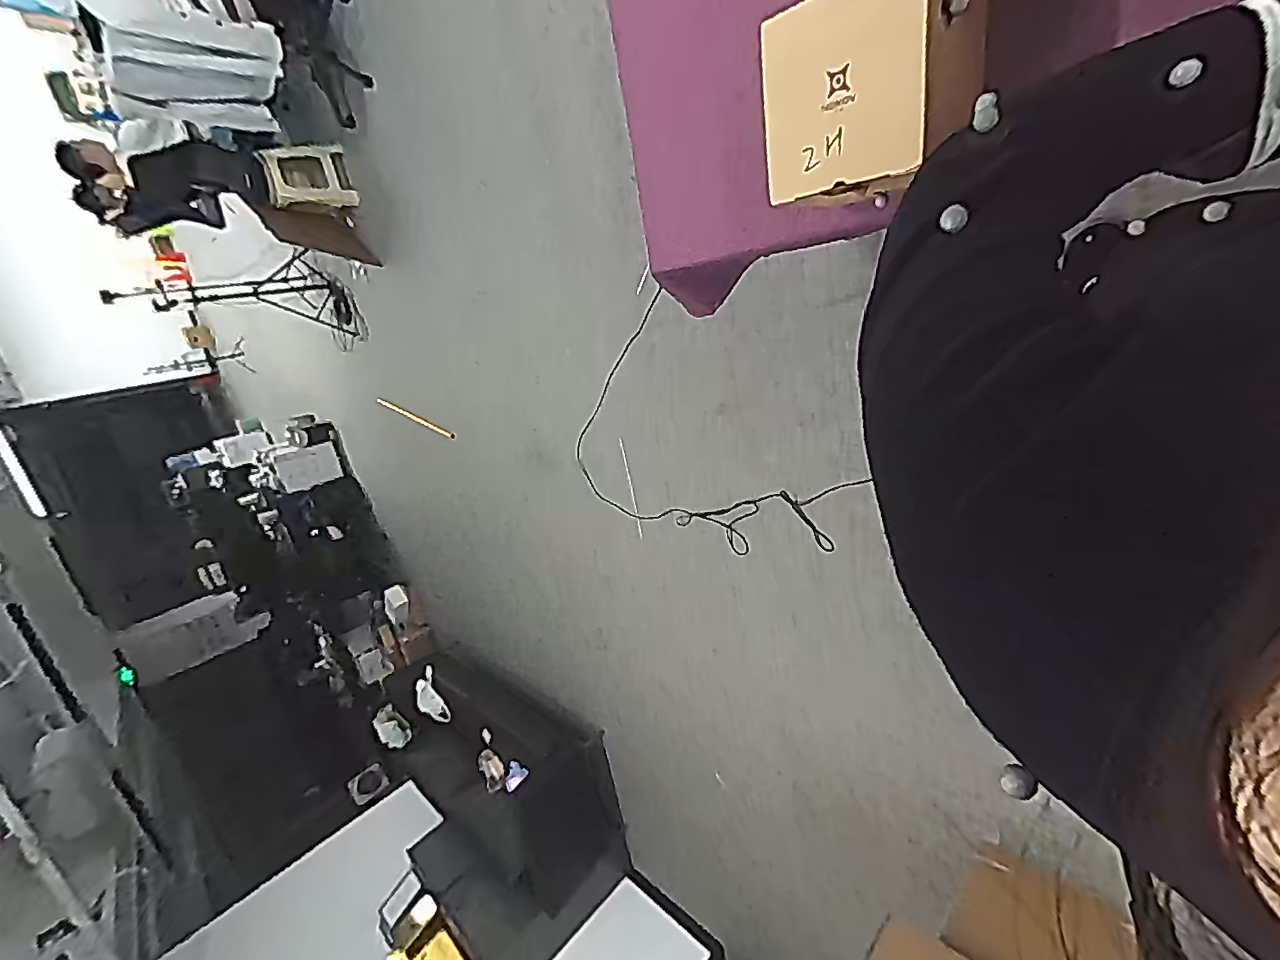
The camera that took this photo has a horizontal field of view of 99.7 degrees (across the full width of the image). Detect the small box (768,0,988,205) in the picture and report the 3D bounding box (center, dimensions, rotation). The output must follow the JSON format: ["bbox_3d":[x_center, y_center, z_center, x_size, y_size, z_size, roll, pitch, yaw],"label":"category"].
[{"bbox_3d":[0.257,-0.408,0.586,0.168,0.176,0.179,13,118,45],"label":"small box"}]
